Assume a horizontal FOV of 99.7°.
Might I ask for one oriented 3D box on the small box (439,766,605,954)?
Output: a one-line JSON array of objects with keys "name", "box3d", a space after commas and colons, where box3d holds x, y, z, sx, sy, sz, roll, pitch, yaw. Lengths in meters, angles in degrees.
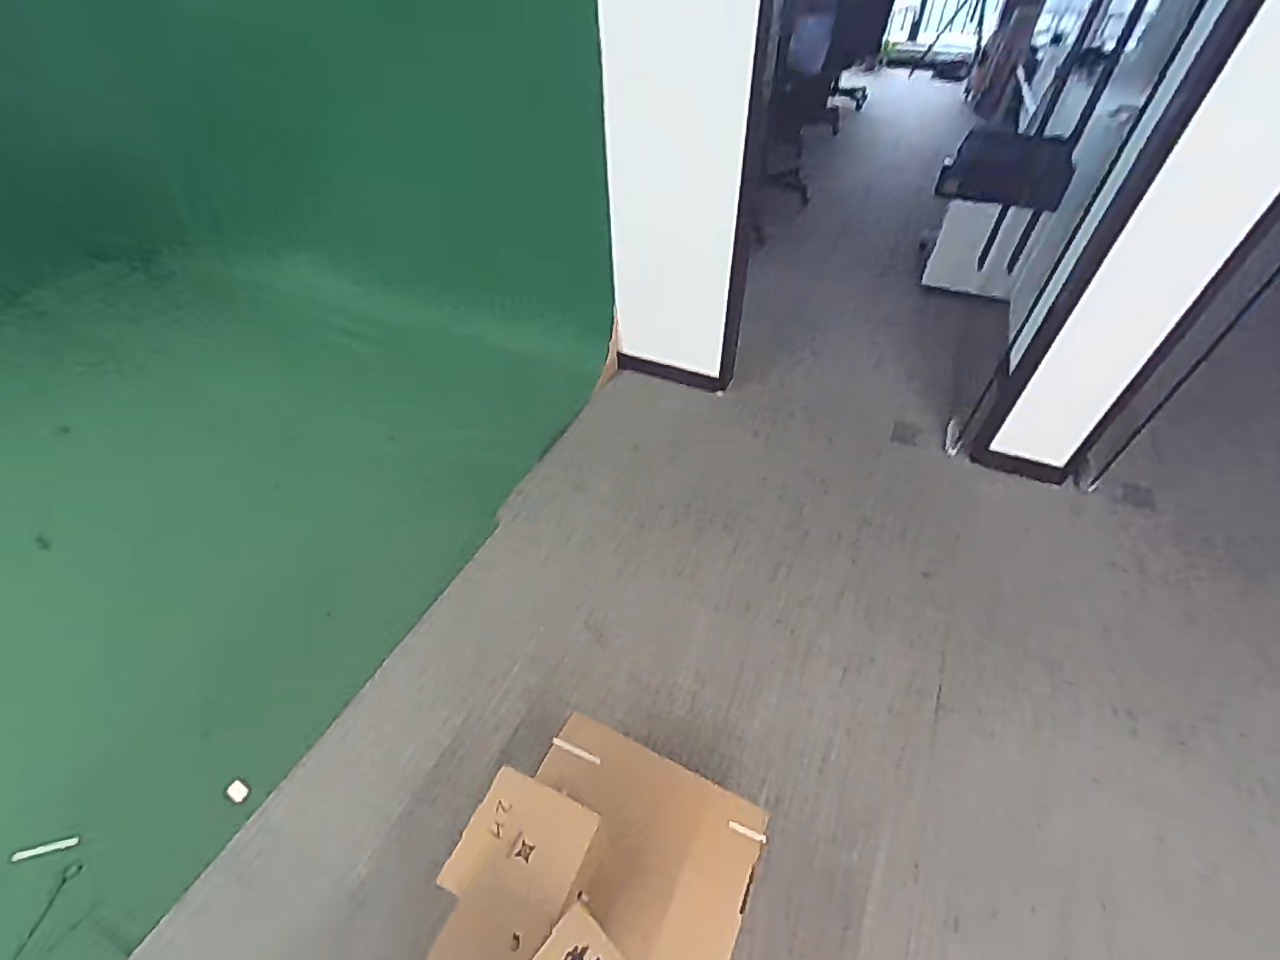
[{"name": "small box", "box3d": [-0.163, 0.576, 0.819, 0.179, 0.176, 0.168, 18, 47, 18]}]
